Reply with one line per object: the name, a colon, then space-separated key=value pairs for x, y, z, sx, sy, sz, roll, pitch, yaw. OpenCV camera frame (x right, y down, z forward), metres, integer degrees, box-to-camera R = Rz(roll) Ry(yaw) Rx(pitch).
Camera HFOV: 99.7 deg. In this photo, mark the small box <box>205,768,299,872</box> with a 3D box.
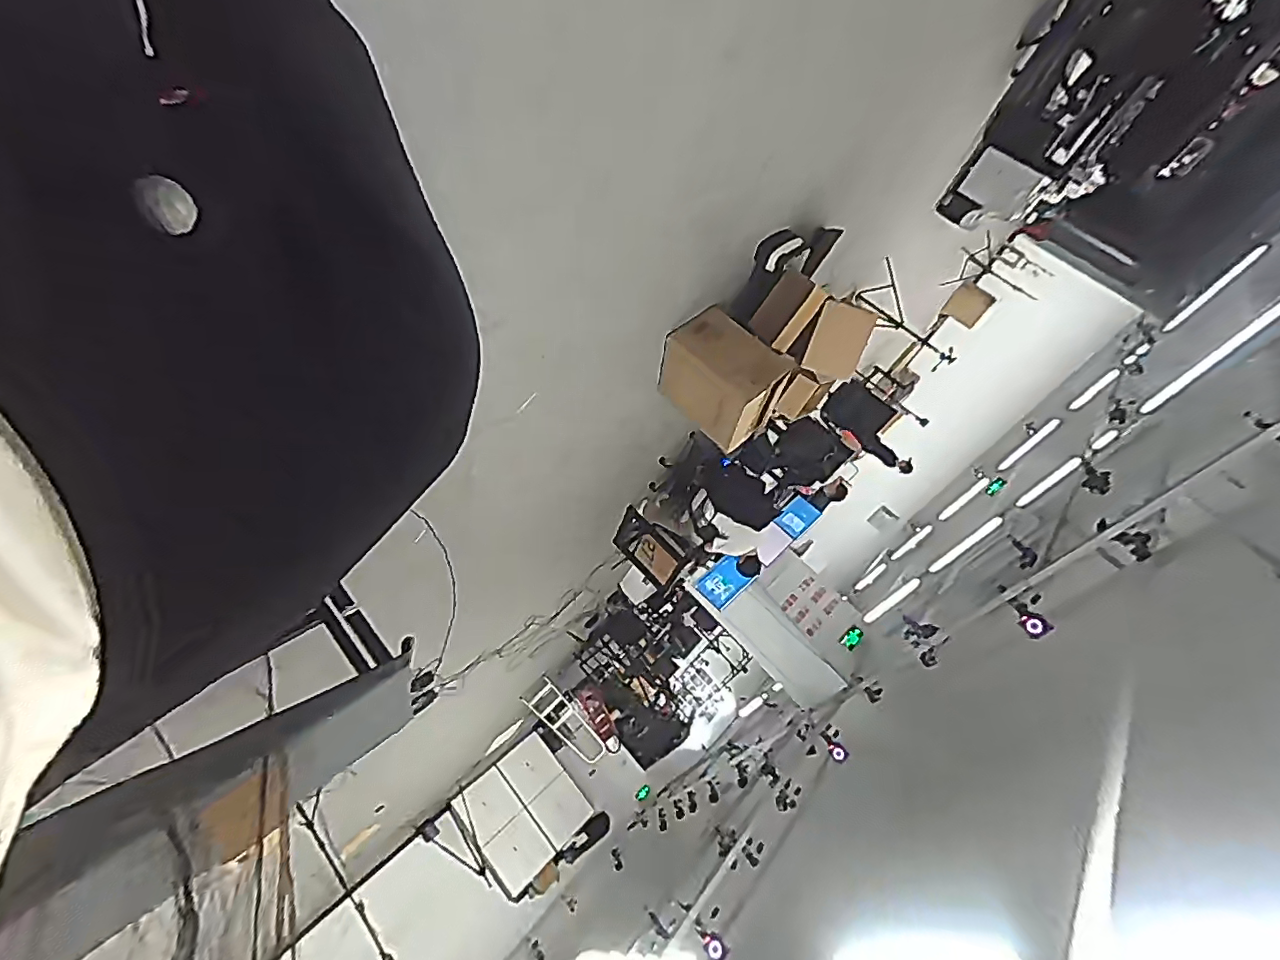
small box: x=-1.121 y=0.979 z=1.564 sx=0.179 sy=0.176 sz=0.168 roll=-27 pitch=157 yaw=-43
